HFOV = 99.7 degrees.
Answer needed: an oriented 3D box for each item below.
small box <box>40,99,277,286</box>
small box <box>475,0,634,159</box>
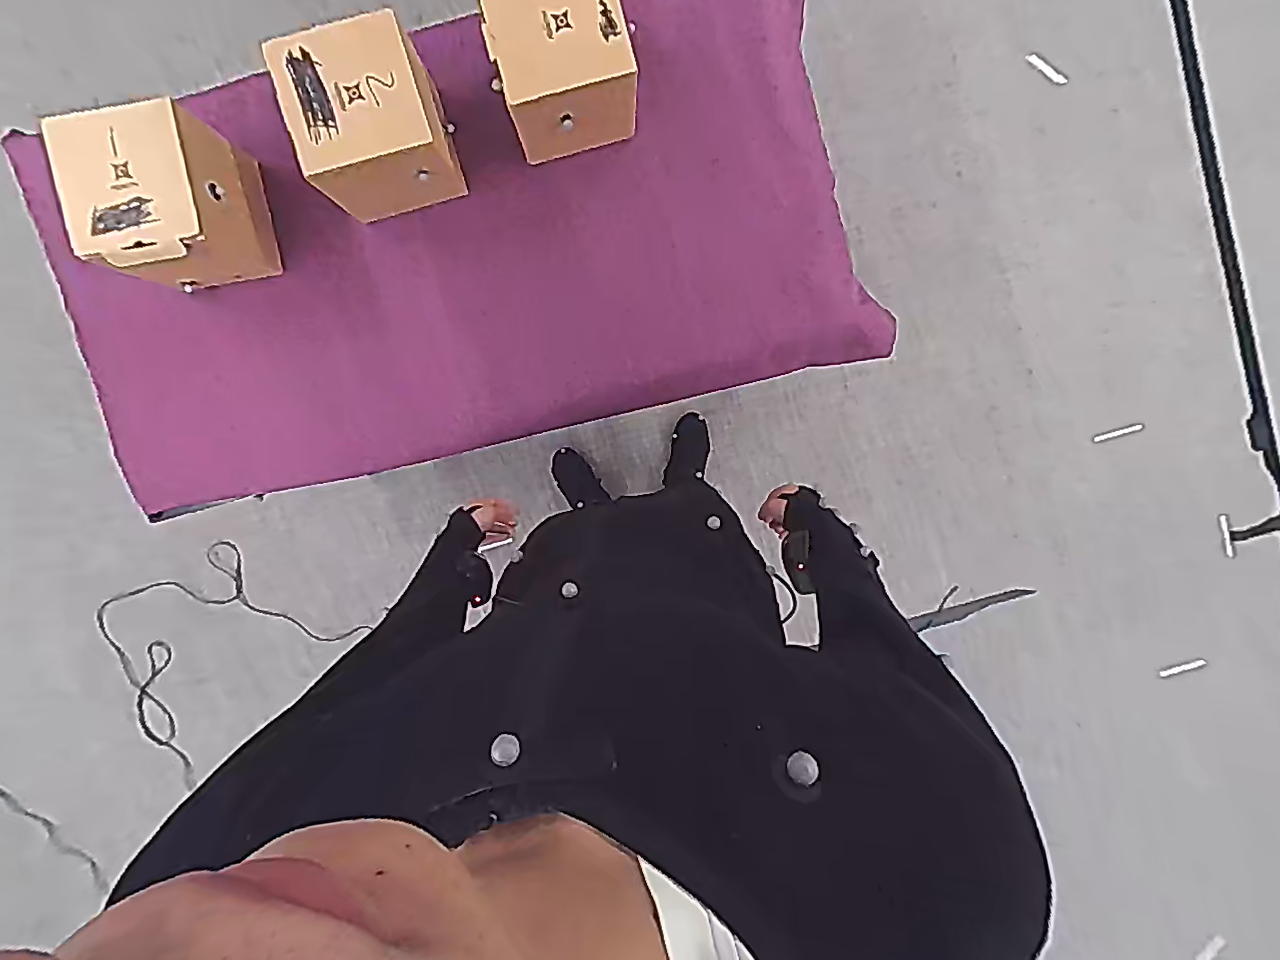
[{"bbox_3d":[-0.654,-0.385,0.761,0.168,0.176,0.179,-11,95,-1],"label":"small box"},{"bbox_3d":[-0.110,-0.585,0.757,0.179,0.176,0.168,-16,98,1],"label":"small box"}]
